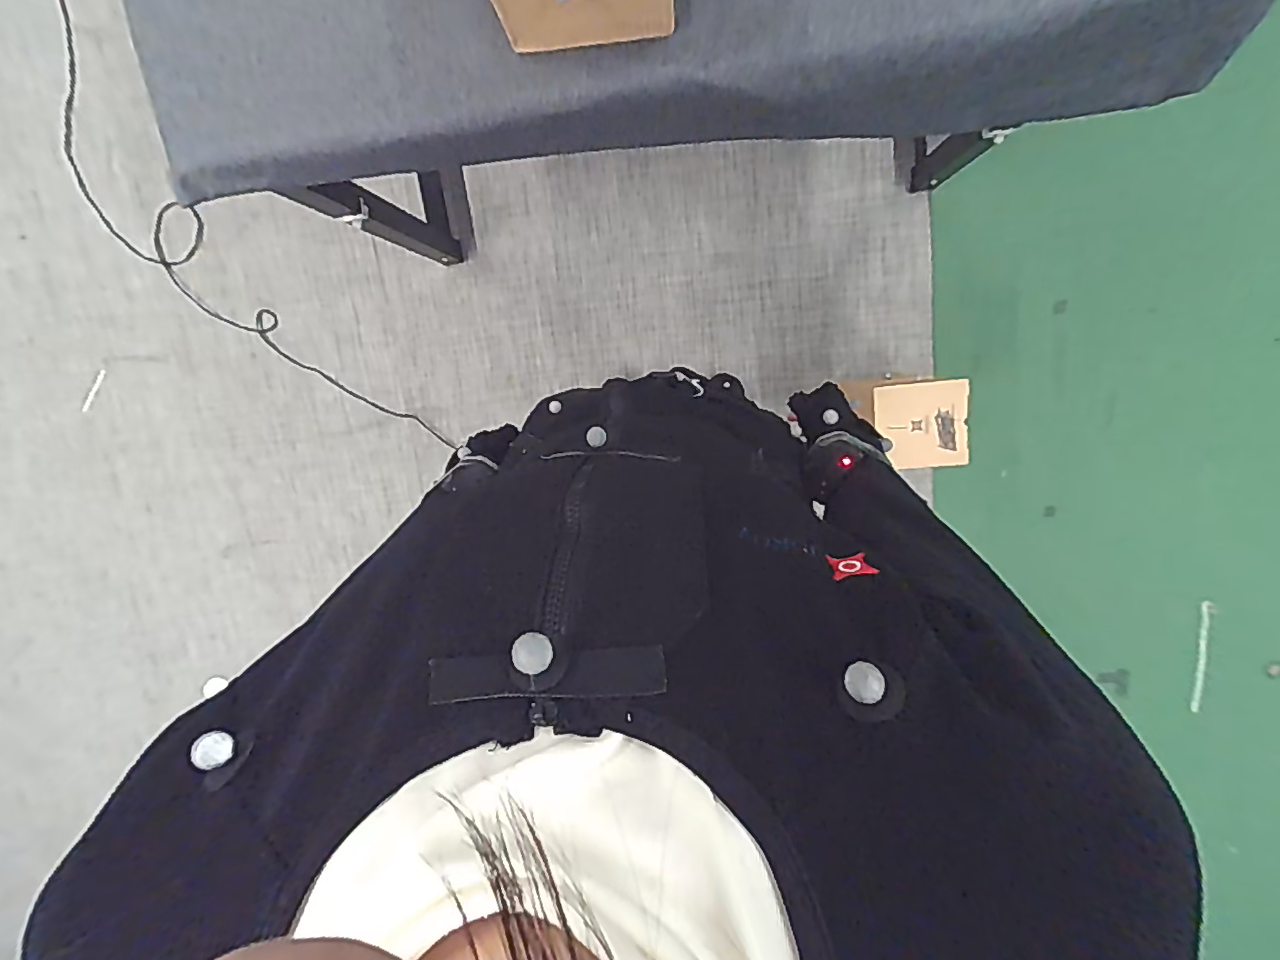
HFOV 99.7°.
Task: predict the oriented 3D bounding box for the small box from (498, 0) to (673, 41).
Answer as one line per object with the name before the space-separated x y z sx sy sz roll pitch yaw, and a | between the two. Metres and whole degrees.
small box | -0.061 -0.544 0.495 0.179 0.176 0.168 -2 101 4

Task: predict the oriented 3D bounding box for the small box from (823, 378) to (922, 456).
small box | 0.548 -0.152 1.284 0.179 0.176 0.168 -6 100 6

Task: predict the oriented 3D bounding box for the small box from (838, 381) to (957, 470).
small box | 0.526 -0.117 1.124 0.179 0.176 0.168 -3 100 5
